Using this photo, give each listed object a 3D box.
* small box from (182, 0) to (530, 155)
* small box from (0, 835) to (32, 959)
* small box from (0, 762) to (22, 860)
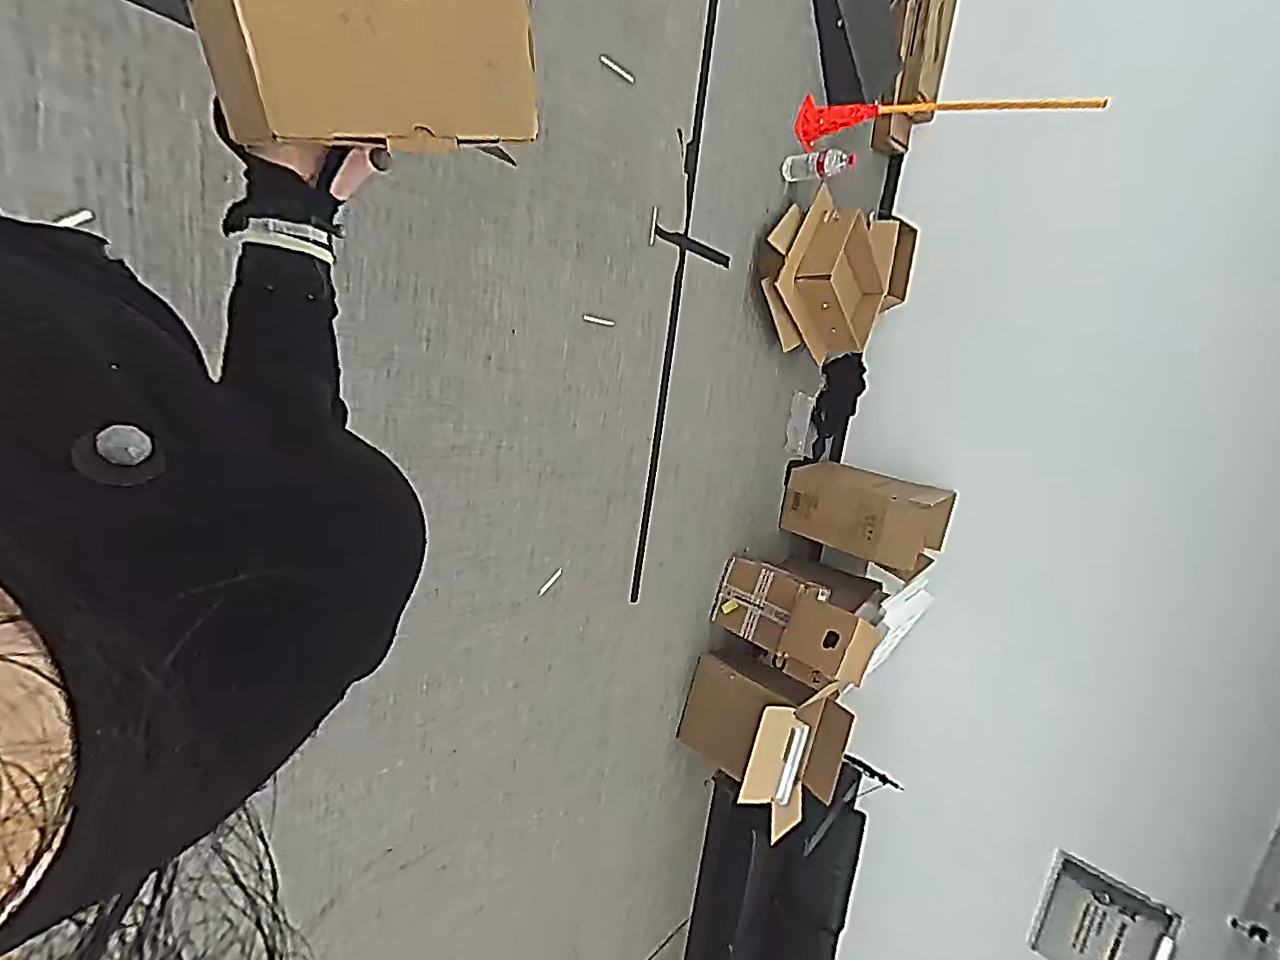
[{"bbox_3d":[-0.190,-0.318,0.351,0.168,0.176,0.179,-24,130,-33],"label":"small box"},{"bbox_3d":[-0.918,0.599,0.687,0.168,0.176,0.179,-15,115,-44],"label":"small box"},{"bbox_3d":[-1.039,0.547,0.785,0.179,0.176,0.168,7,98,-49],"label":"small box"}]
